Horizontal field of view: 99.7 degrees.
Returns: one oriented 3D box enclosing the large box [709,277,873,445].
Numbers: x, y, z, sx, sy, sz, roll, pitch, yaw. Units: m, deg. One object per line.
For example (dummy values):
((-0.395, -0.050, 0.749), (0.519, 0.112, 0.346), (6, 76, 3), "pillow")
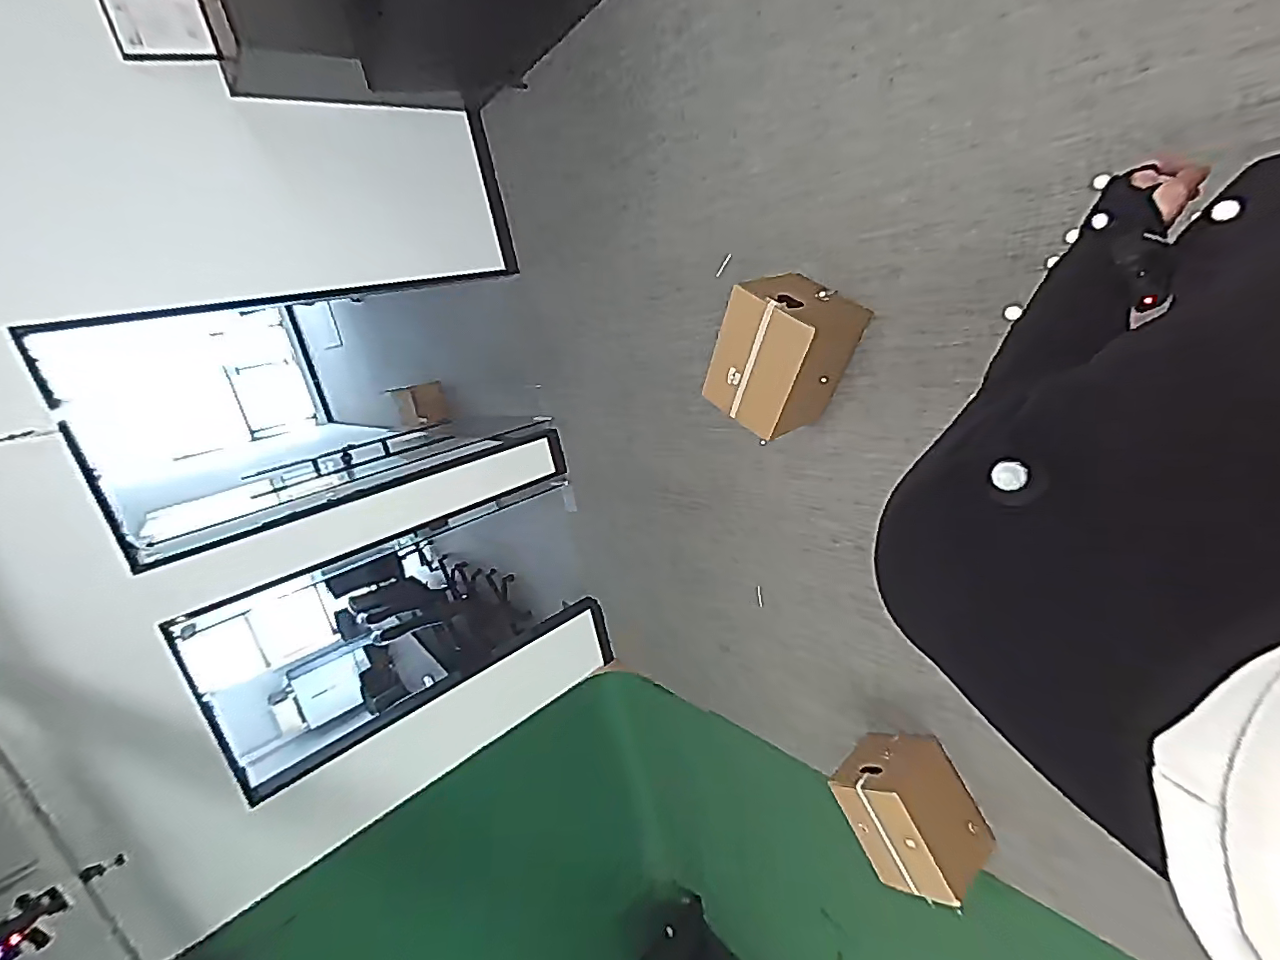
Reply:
((0.479, -0.394, 1.758), (0.320, 0.320, 0.408), (43, 140, 31), "large box")
